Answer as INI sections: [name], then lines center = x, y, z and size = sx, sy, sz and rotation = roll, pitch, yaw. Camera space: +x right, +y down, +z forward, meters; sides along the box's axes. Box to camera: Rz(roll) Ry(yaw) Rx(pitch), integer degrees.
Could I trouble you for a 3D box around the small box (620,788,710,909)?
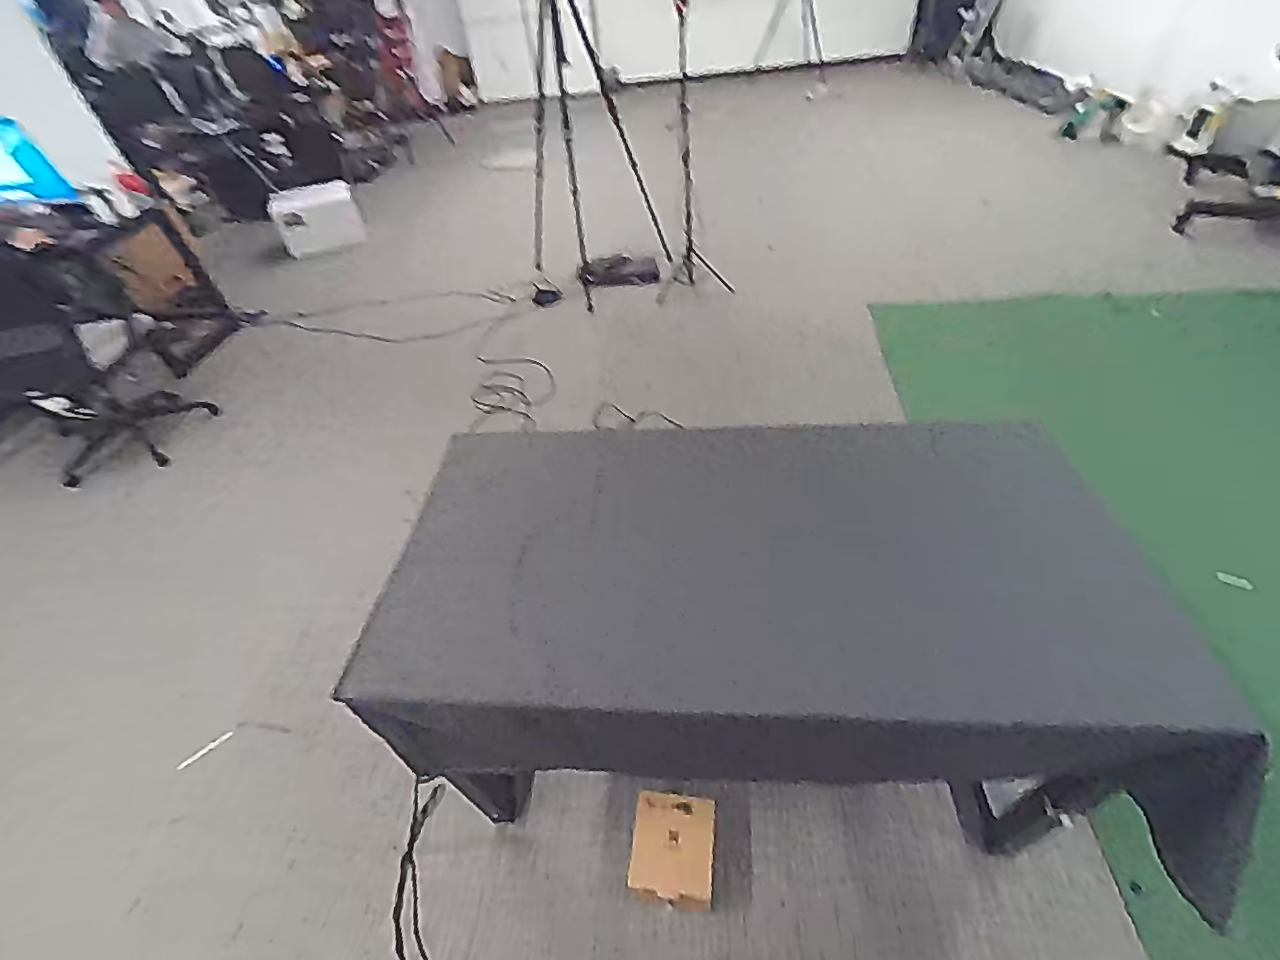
[small box]
center = 0.062, 0.784, 1.148
size = 0.168, 0.176, 0.179
rotation = 2, 45, 10
